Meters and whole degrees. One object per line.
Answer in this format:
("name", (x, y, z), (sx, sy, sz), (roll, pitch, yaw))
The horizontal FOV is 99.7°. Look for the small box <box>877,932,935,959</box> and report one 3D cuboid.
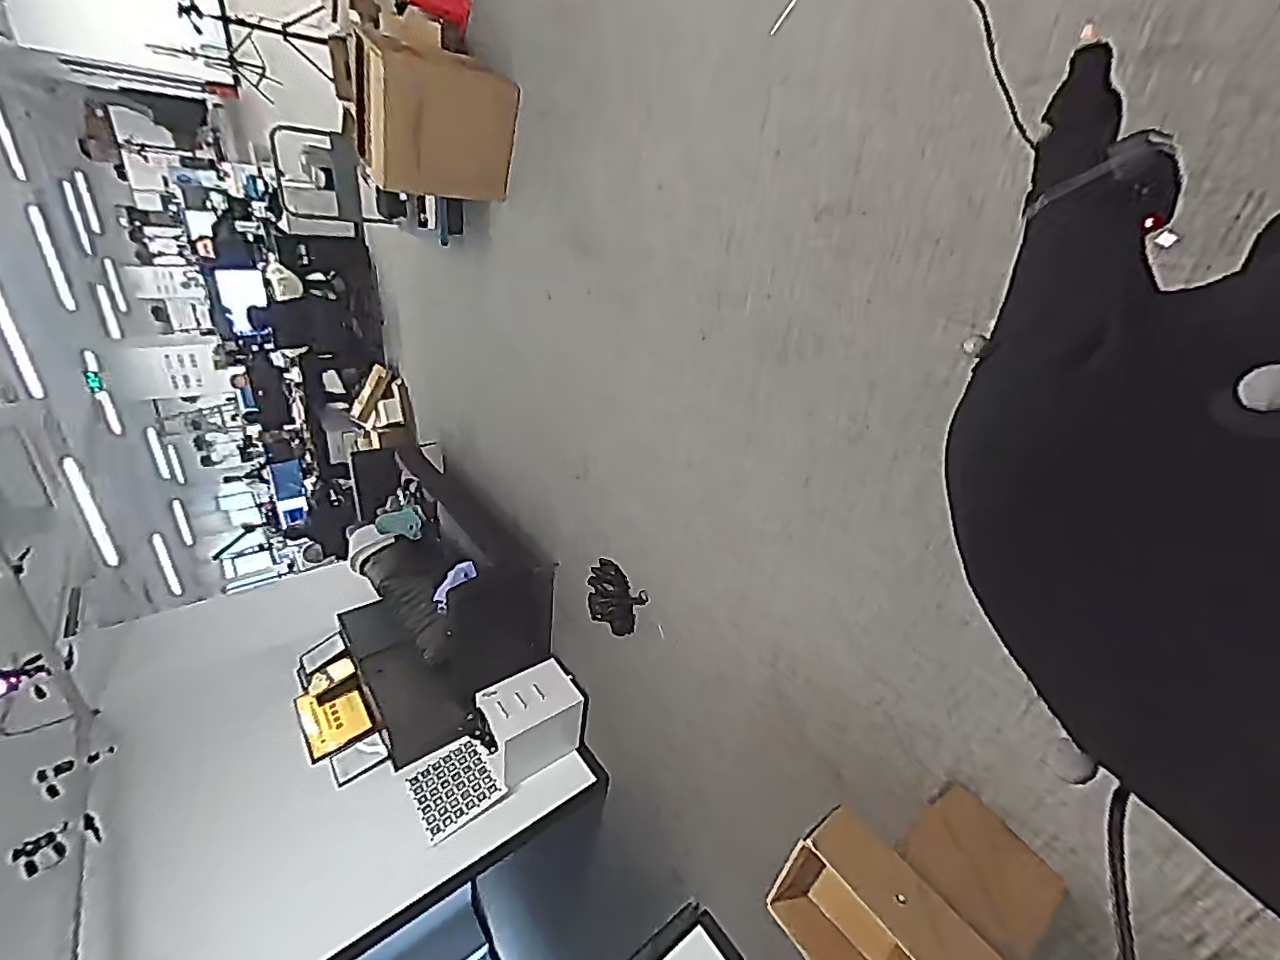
("small box", (0.652, 1.259, 1.313), (0.168, 0.176, 0.179), (43, 136, 40))
